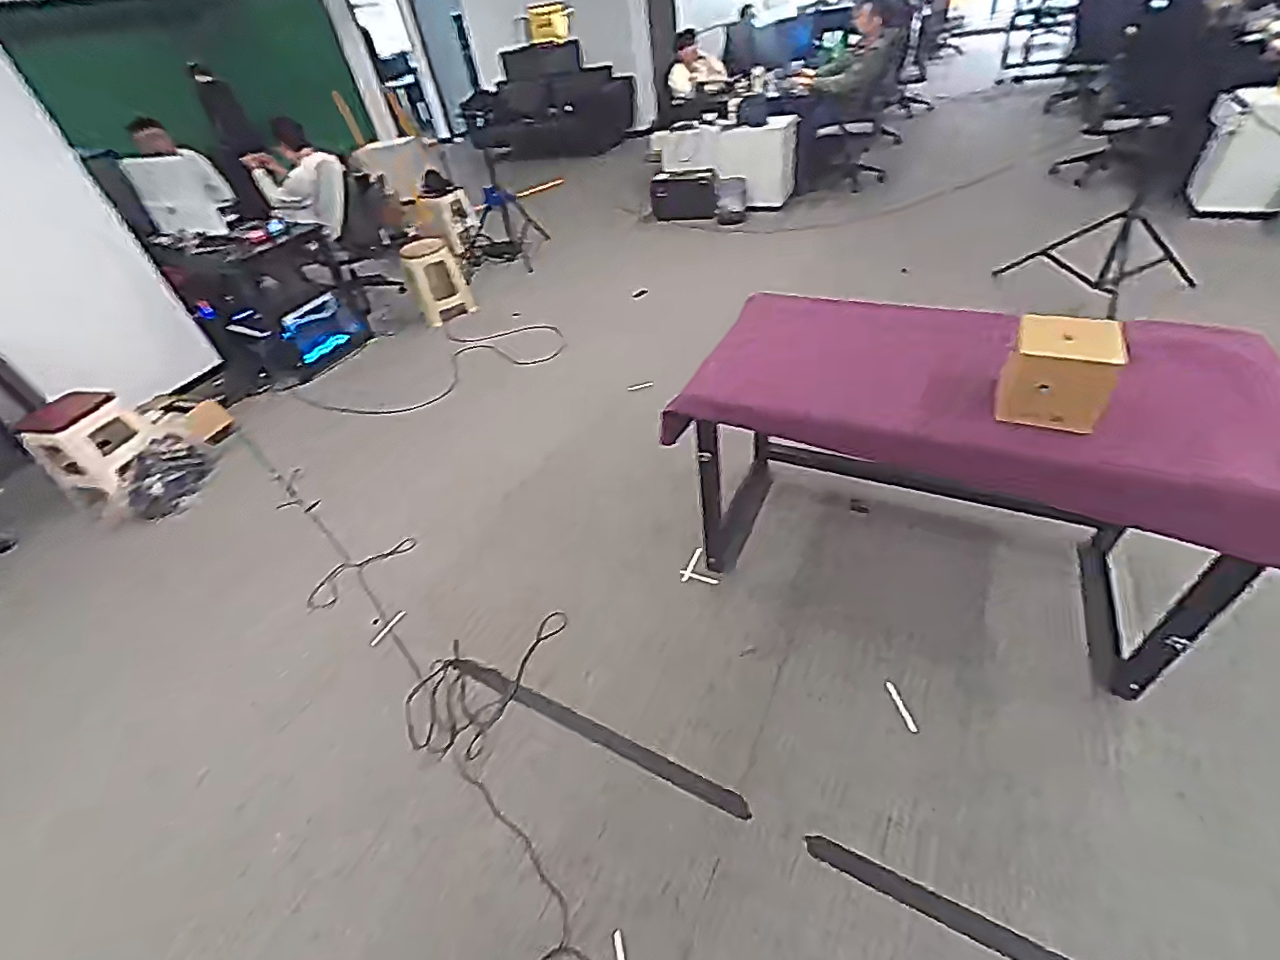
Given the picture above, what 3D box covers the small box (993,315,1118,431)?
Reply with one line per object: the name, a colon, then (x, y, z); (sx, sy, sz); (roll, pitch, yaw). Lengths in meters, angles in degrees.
small box: (0.856, -0.223, 1.127); (0.168, 0.176, 0.179); (14, 46, 25)
